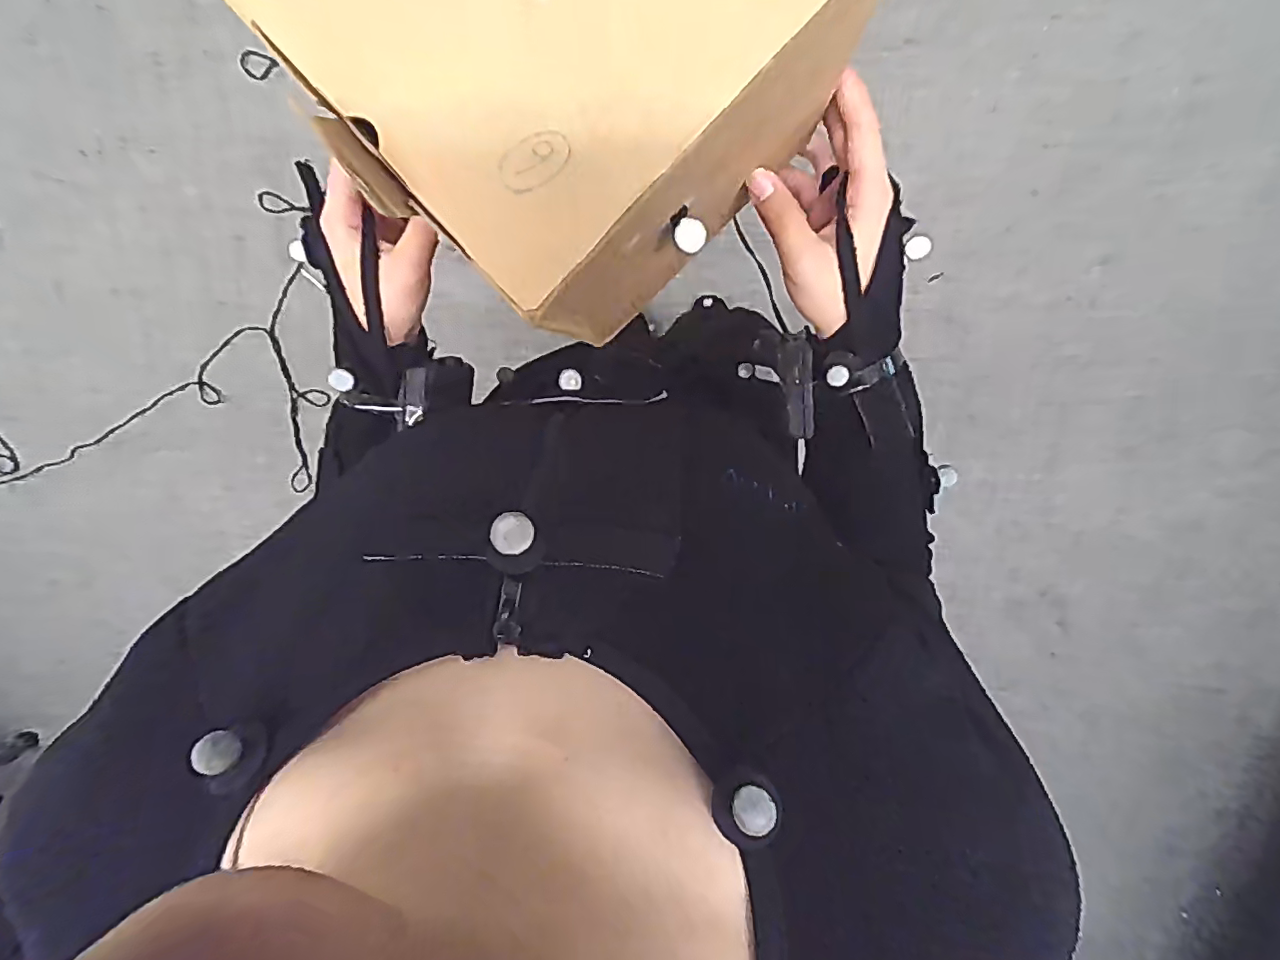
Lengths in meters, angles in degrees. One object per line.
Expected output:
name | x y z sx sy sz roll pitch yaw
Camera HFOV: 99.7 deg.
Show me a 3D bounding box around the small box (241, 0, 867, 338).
small box | -0.023 -0.187 0.263 0.179 0.176 0.168 -43 95 12
